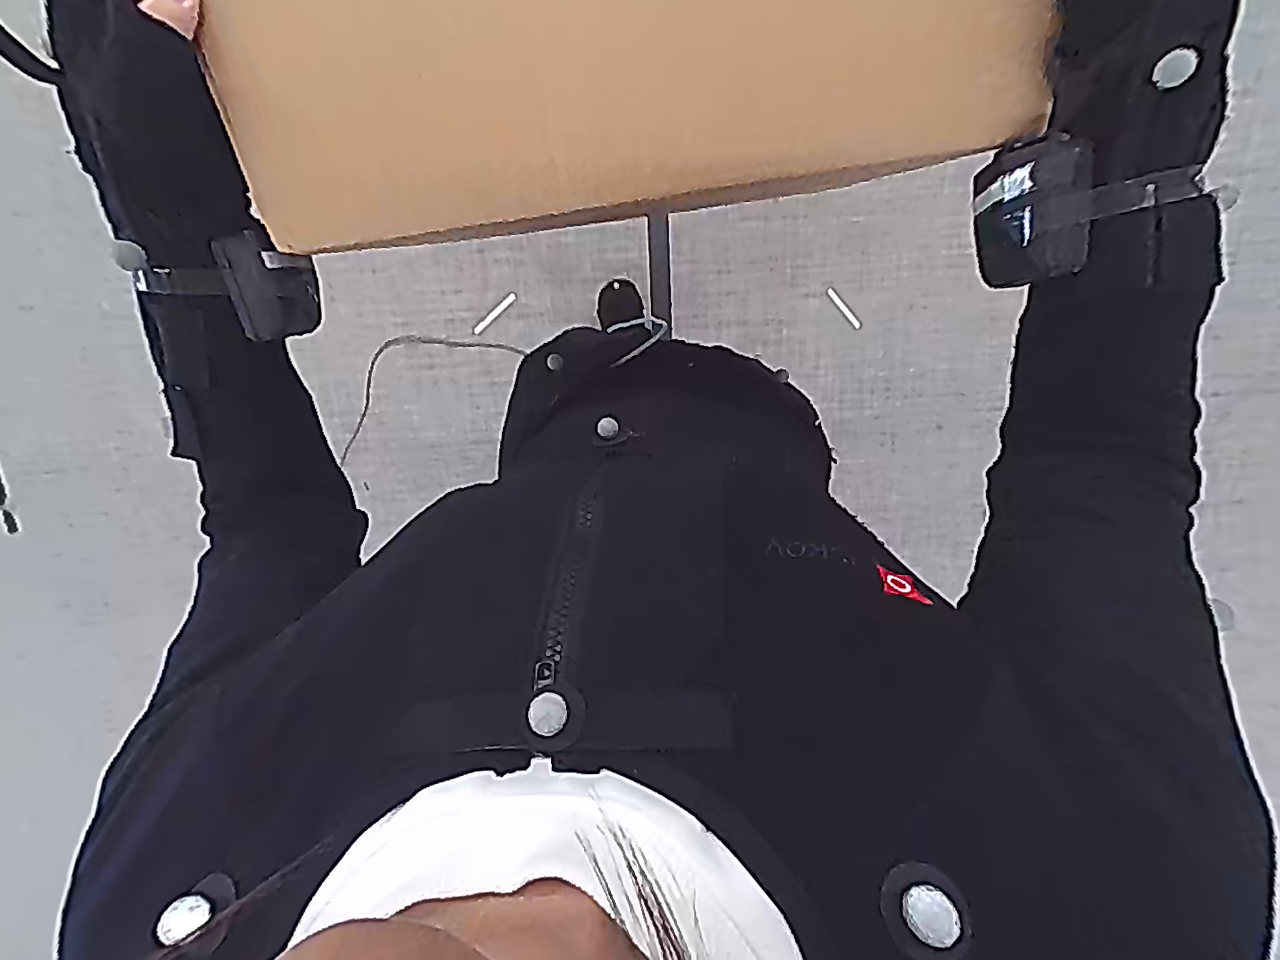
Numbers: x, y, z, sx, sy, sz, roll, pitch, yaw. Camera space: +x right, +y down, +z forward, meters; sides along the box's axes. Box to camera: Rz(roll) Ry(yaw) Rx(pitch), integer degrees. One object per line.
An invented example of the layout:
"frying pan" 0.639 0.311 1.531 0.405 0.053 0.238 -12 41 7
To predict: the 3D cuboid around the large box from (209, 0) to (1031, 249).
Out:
"large box" -0.020 -0.359 0.370 0.408 0.320 0.320 -7 115 5
